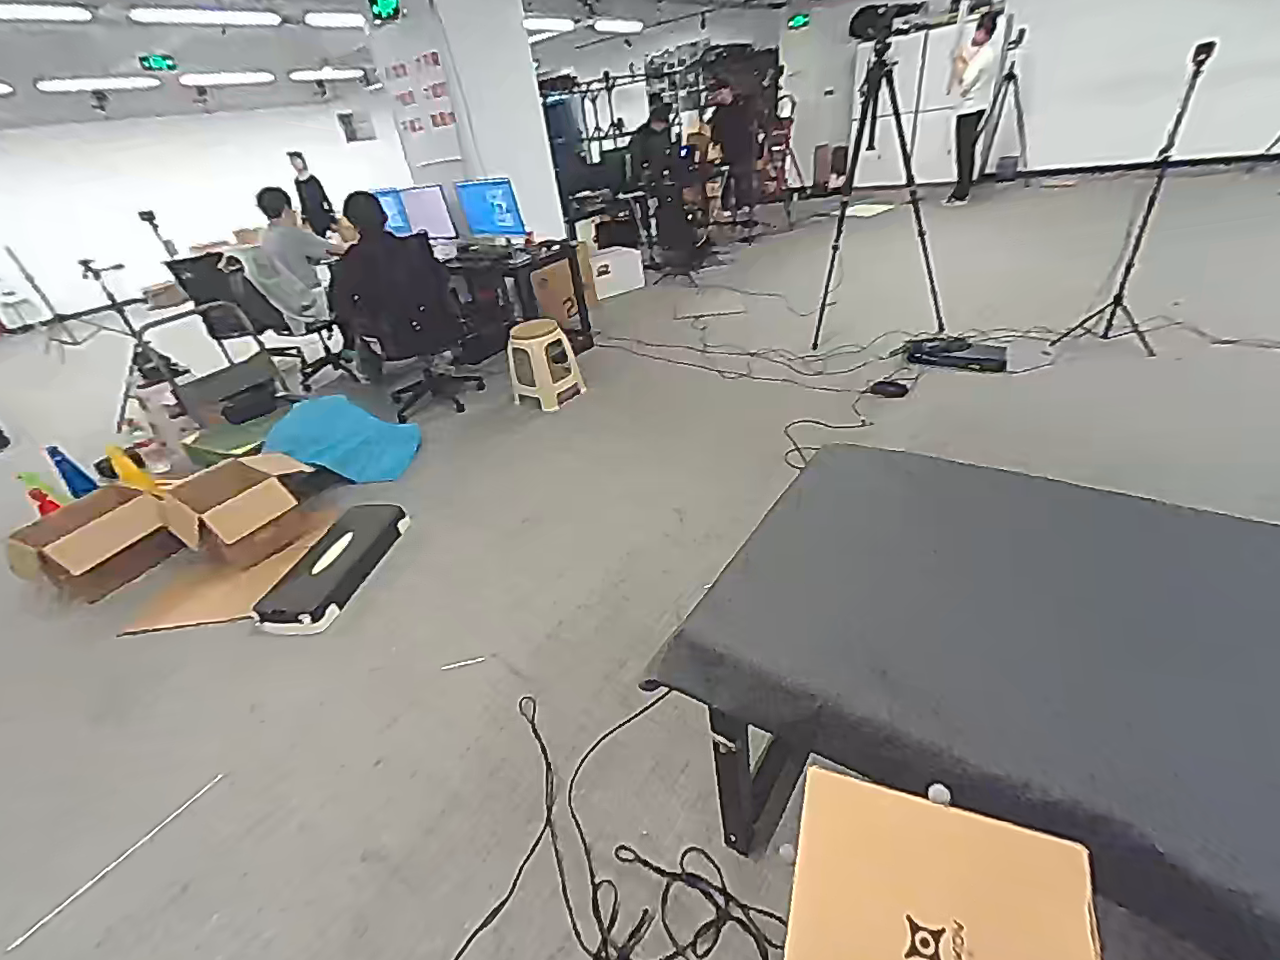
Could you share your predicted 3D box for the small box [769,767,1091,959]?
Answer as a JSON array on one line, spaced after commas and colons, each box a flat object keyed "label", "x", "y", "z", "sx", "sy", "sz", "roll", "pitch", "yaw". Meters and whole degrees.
[{"label": "small box", "x": 0.196, "y": 0.337, "z": 0.397, "sx": 0.179, "sy": 0.176, "sz": 0.168, "roll": 7, "pitch": 58, "yaw": 22}]
